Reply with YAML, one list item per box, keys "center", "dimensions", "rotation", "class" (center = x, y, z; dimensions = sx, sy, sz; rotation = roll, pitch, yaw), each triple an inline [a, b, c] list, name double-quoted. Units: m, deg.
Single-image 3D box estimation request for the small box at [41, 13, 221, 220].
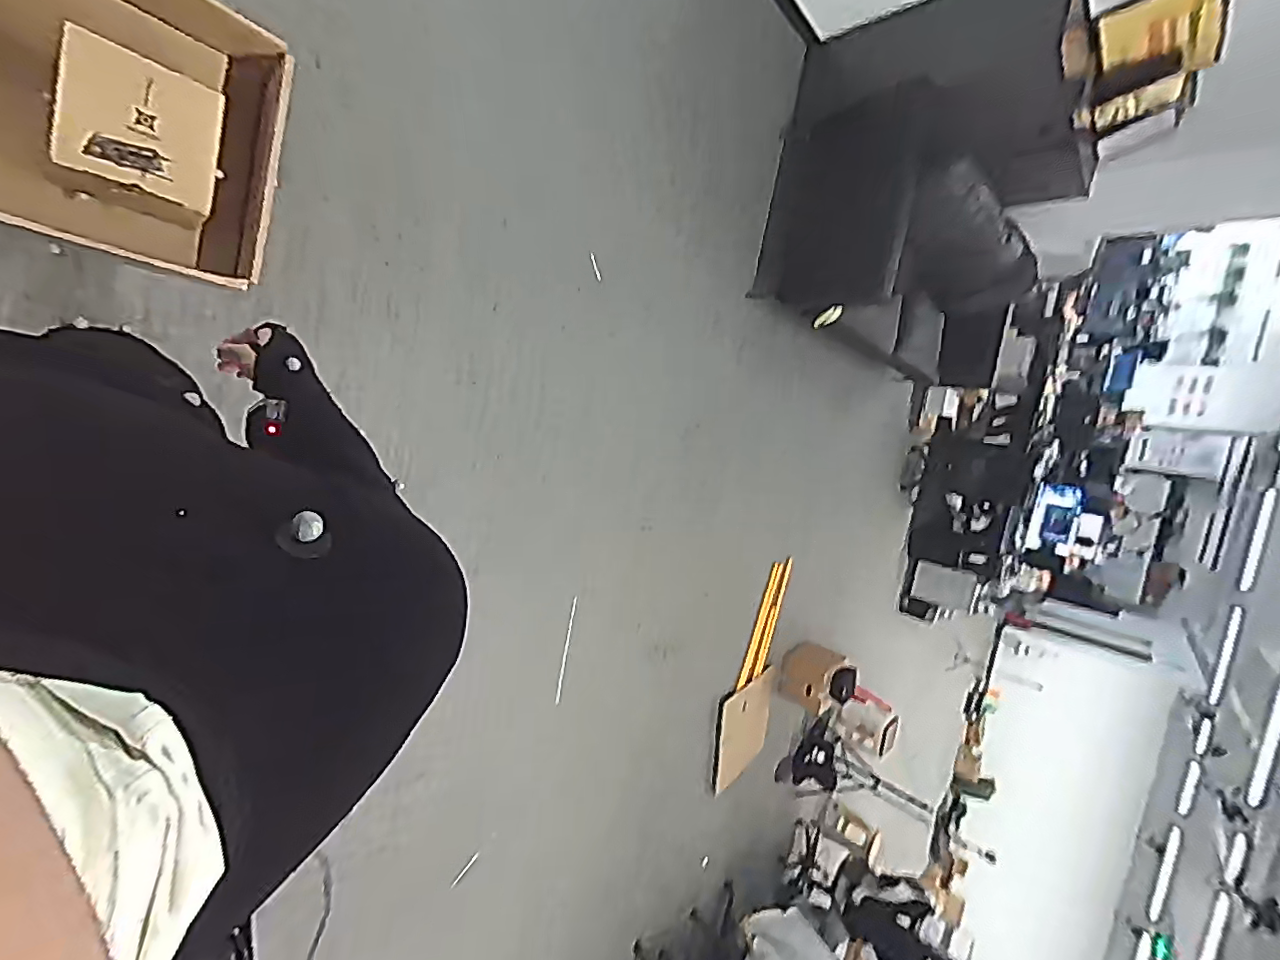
- center: [-0.740, -0.506, 0.791]
  dimensions: [0.168, 0.176, 0.179]
  rotation: [7, 94, -47]
  class: "small box"
